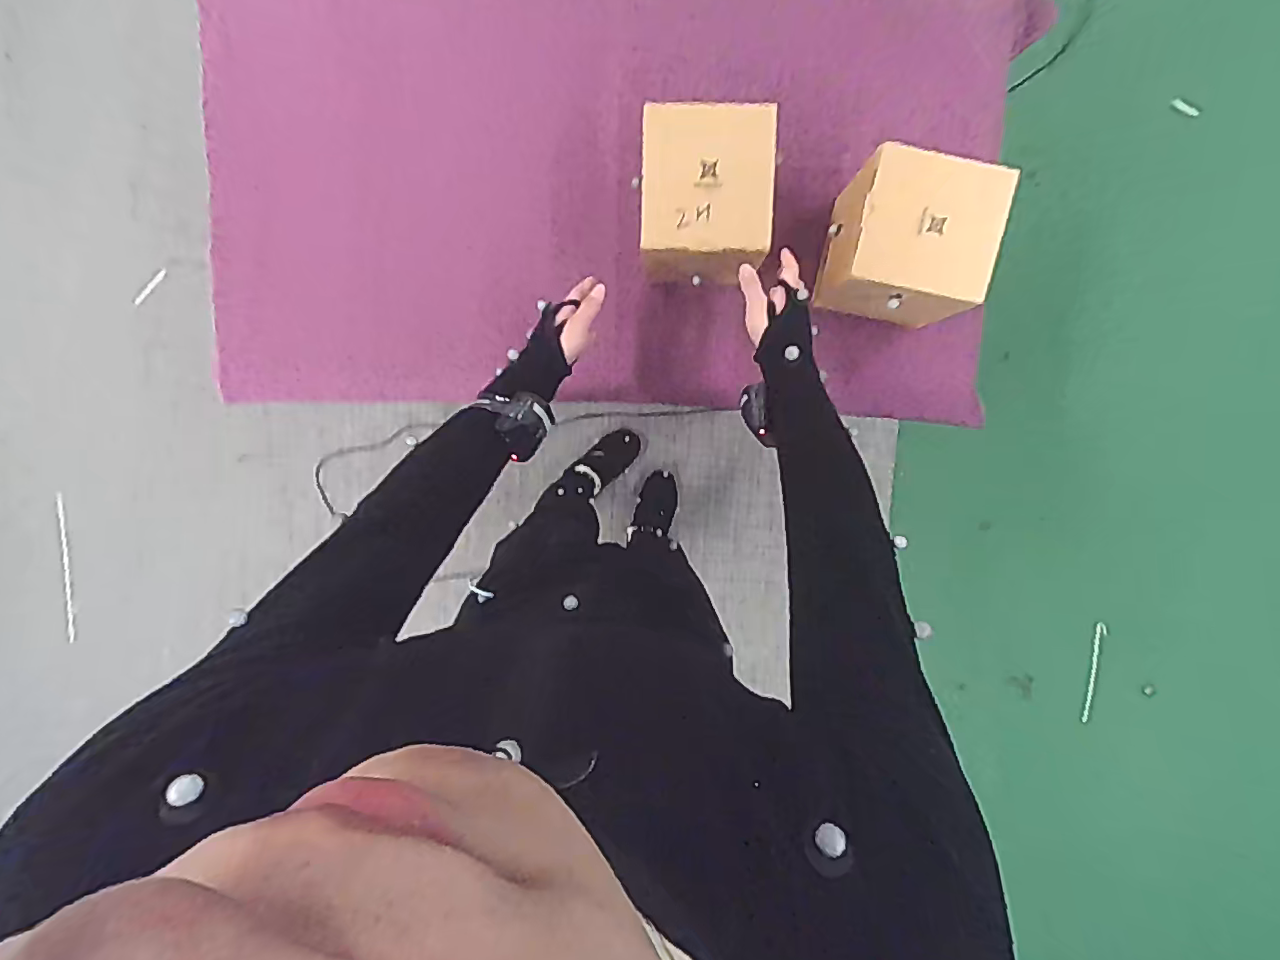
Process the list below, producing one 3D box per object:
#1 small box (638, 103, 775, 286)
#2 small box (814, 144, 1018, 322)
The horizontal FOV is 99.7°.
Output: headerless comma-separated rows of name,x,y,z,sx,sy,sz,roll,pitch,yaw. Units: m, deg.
small box,0.083,-0.382,0.749,0.168,0.176,0.179,2,97,2
small box,0.364,-0.325,0.749,0.179,0.176,0.168,12,97,2
